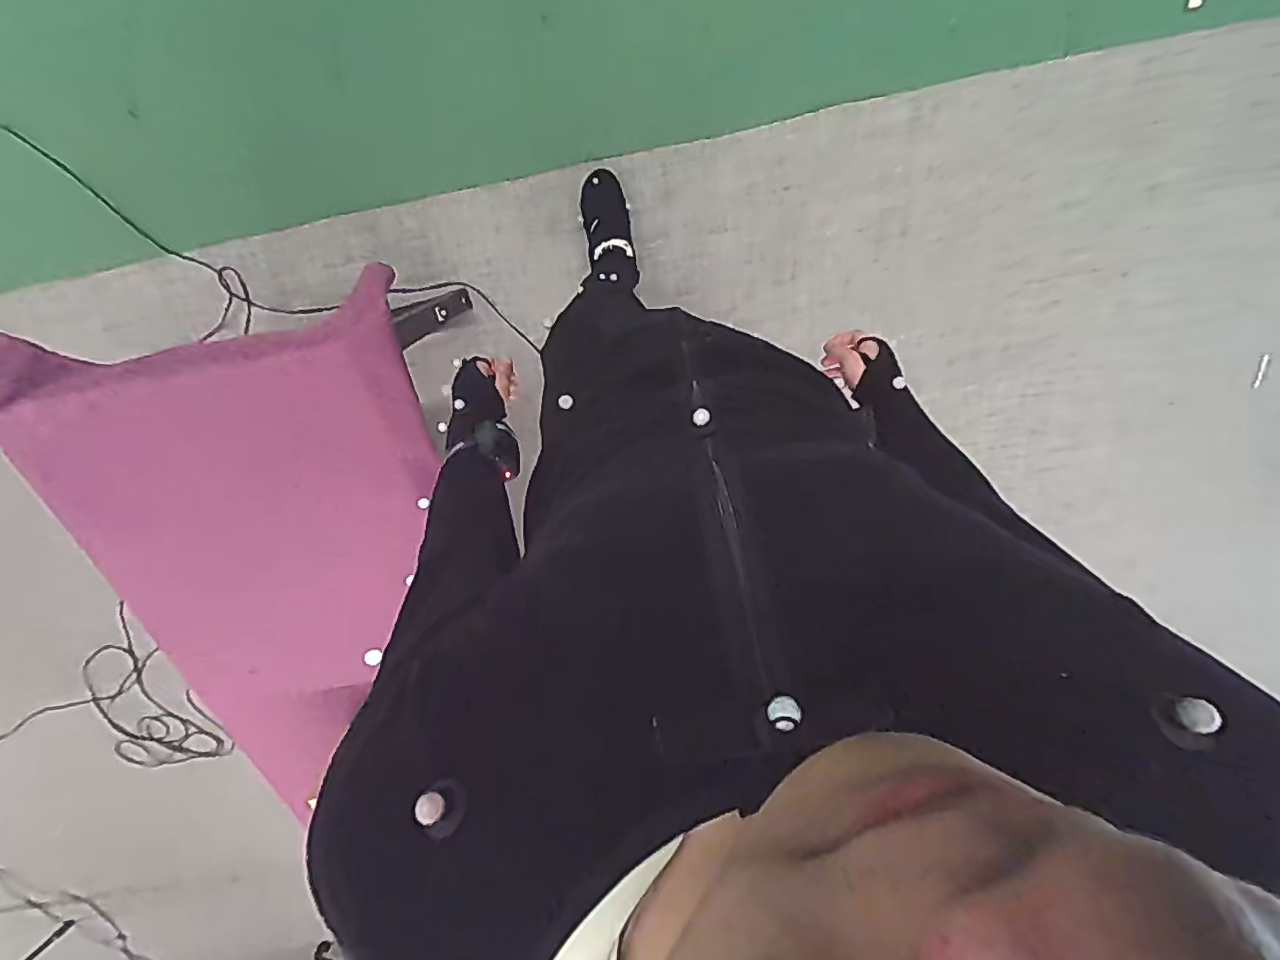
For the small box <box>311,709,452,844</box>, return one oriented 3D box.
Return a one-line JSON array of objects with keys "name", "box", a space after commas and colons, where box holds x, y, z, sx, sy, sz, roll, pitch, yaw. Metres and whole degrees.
[{"name": "small box", "box": [-0.514, 0.599, 1.104, 0.179, 0.176, 0.168, -12, 116, 5]}]
